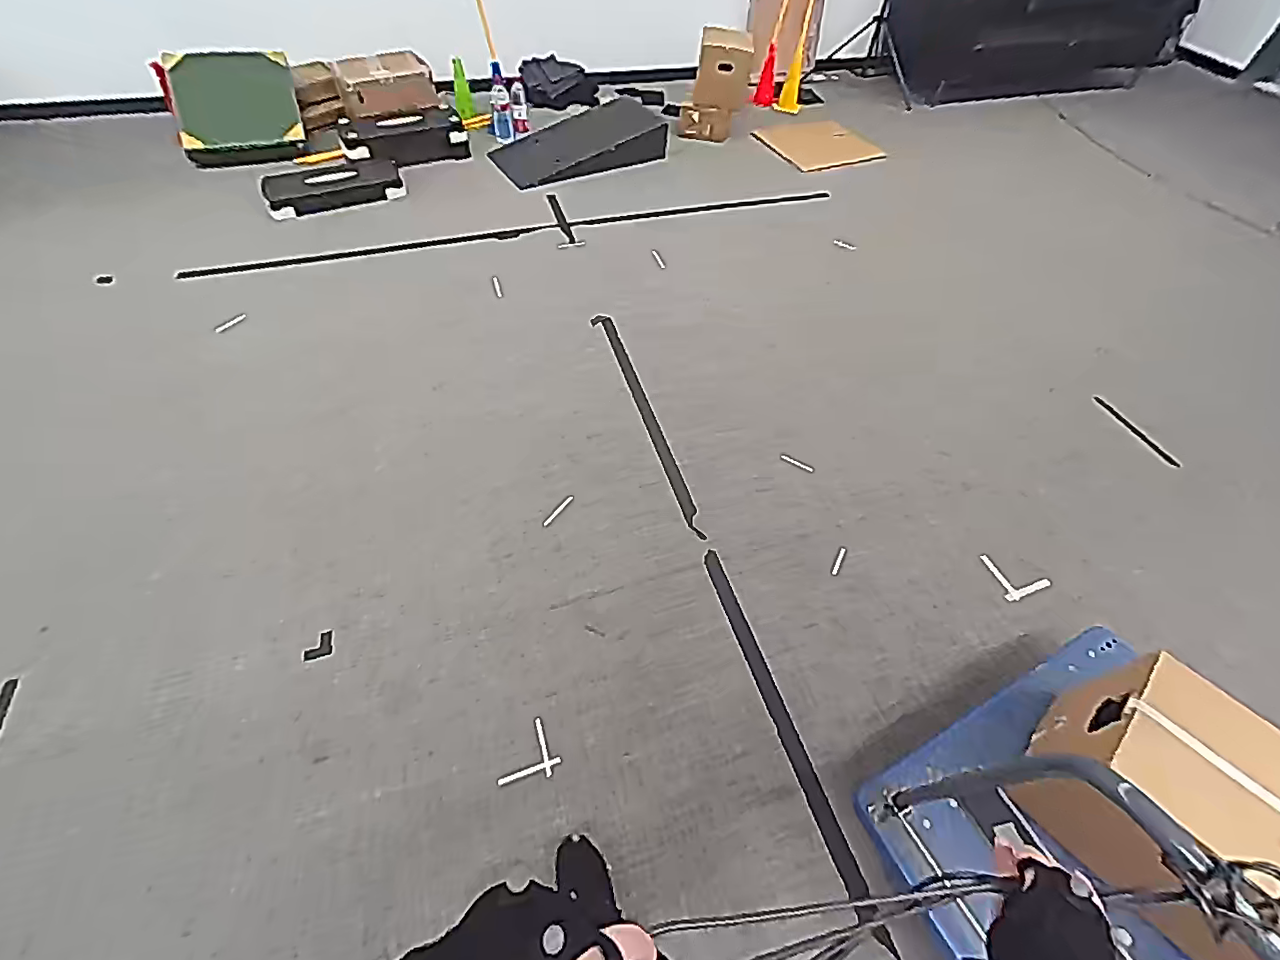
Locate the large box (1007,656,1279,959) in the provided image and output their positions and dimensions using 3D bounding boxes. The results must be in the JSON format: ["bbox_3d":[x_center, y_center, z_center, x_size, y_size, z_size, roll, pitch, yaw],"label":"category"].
[{"bbox_3d":[1.029,0.626,1.029,0.320,0.320,0.408,-36,64,-26],"label":"large box"}]
